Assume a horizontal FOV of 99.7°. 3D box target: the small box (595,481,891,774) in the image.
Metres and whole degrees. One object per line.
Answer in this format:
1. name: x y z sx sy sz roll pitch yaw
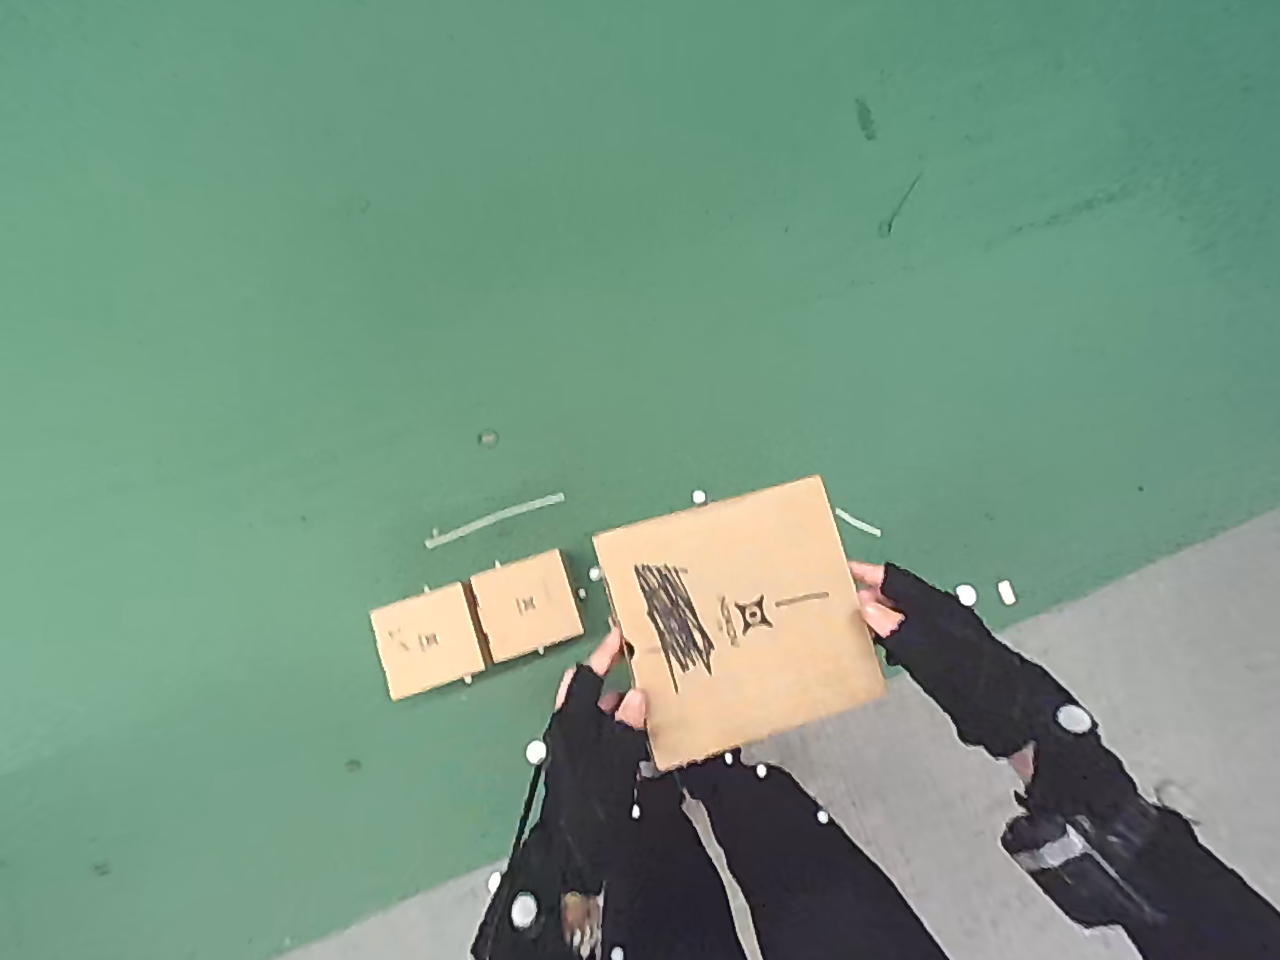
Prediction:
1. small box: 0.067 0.109 0.455 0.179 0.176 0.168 -15 84 -6
